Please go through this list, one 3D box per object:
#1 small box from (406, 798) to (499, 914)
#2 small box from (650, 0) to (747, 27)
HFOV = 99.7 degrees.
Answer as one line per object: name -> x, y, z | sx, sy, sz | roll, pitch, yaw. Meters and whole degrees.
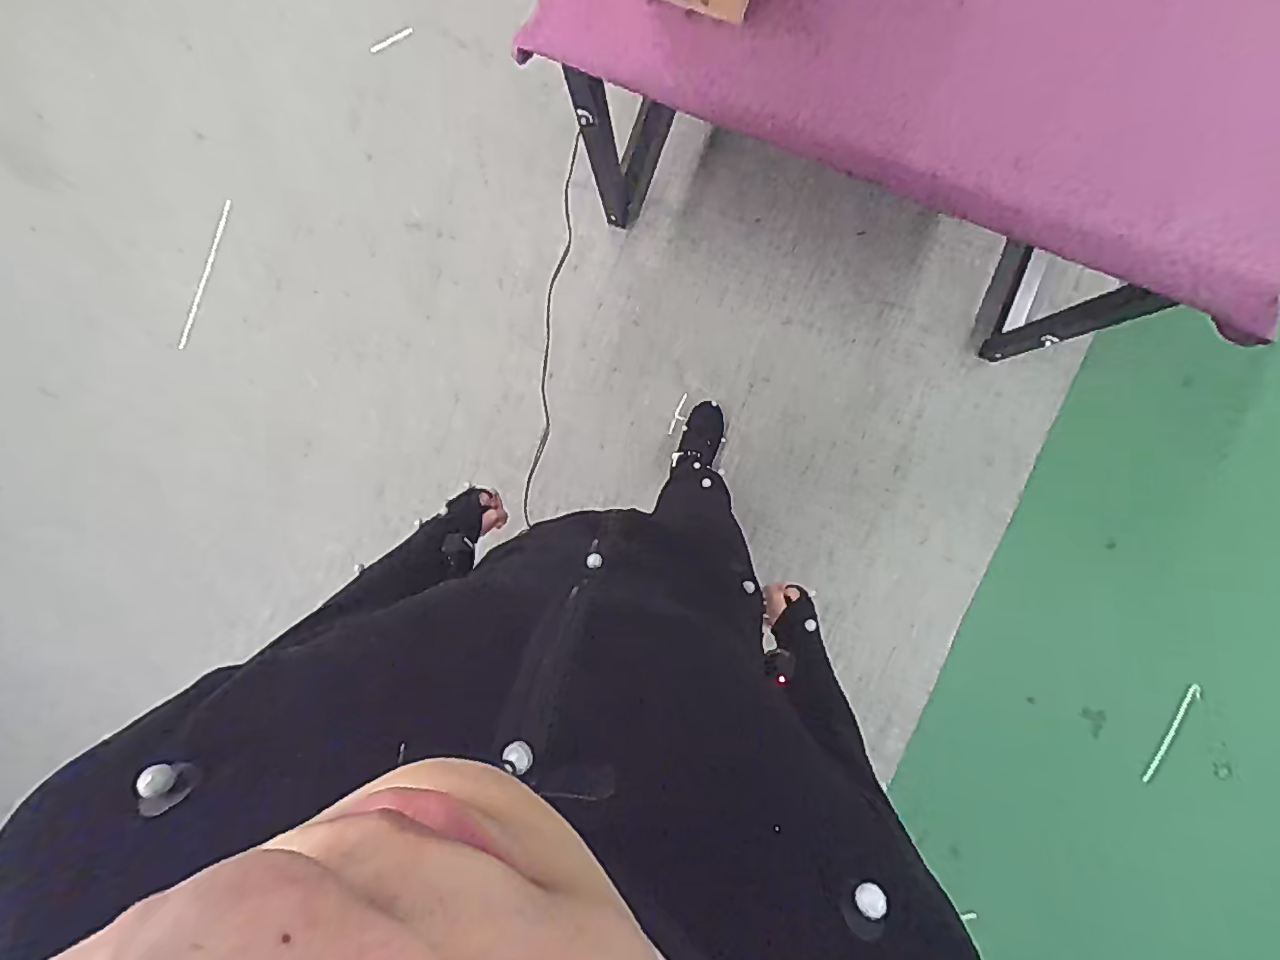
small box -> -0.530, 1.073, 1.556 | 0.168, 0.176, 0.179 | 28, 94, 2
small box -> 0.100, -0.809, 0.762 | 0.168, 0.176, 0.179 | 20, 94, 4
